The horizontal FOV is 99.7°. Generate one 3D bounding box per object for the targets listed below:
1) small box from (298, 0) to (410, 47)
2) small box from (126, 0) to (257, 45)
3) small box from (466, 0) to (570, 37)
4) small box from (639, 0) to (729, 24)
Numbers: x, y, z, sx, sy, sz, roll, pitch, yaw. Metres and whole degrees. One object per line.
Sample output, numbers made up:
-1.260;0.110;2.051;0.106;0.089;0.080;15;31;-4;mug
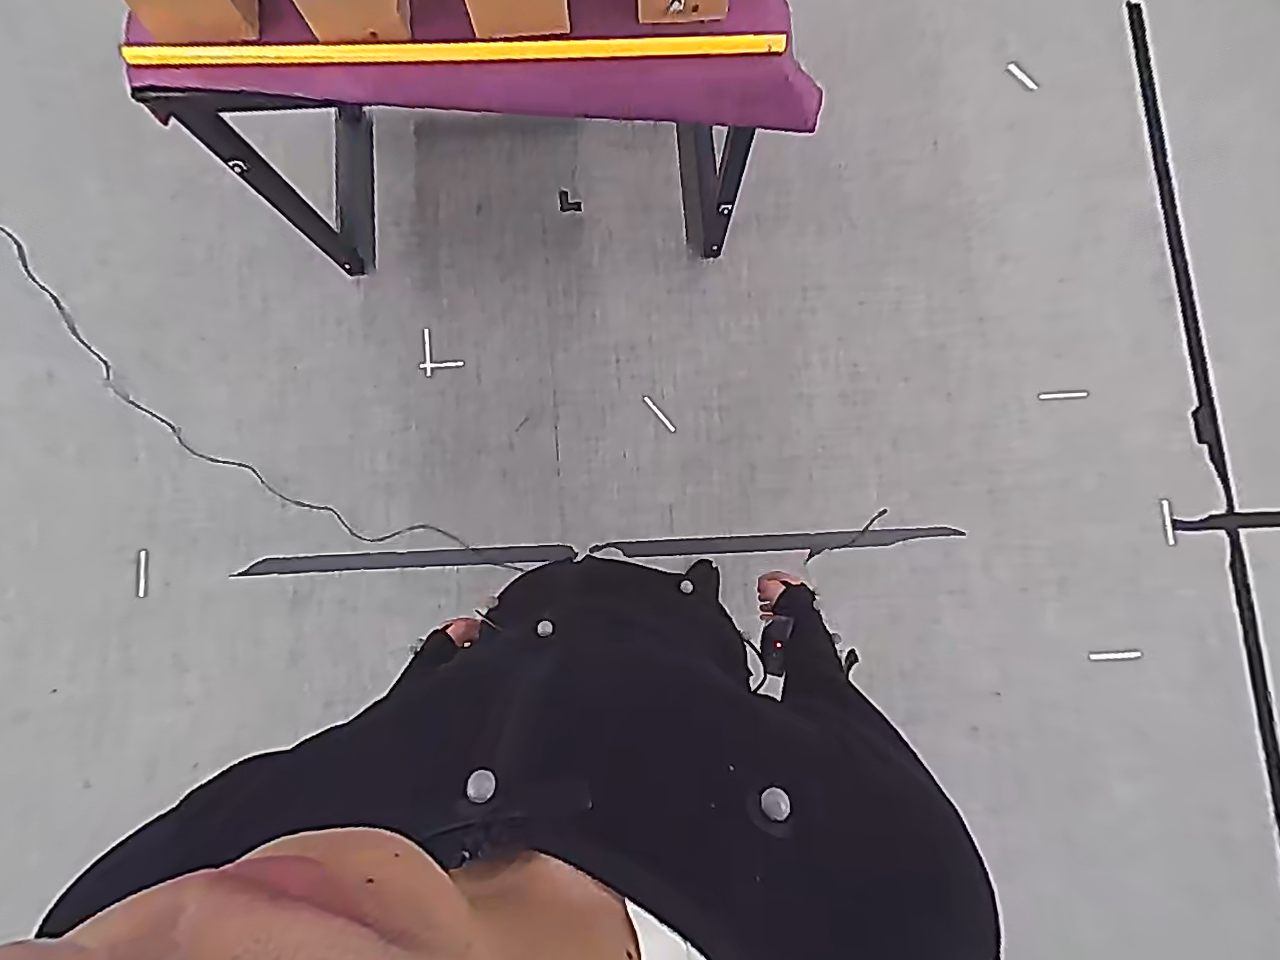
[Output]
-0.509;-0.895;0.928;0.168;0.176;0.179;-3;84;0;small box
-0.789;-0.893;0.925;0.179;0.176;0.168;-4;84;-1;small box
-0.223;-0.909;0.929;0.179;0.176;0.168;-5;83;-1;small box
0.074;-0.944;0.933;0.168;0.176;0.179;-4;82;1;small box
